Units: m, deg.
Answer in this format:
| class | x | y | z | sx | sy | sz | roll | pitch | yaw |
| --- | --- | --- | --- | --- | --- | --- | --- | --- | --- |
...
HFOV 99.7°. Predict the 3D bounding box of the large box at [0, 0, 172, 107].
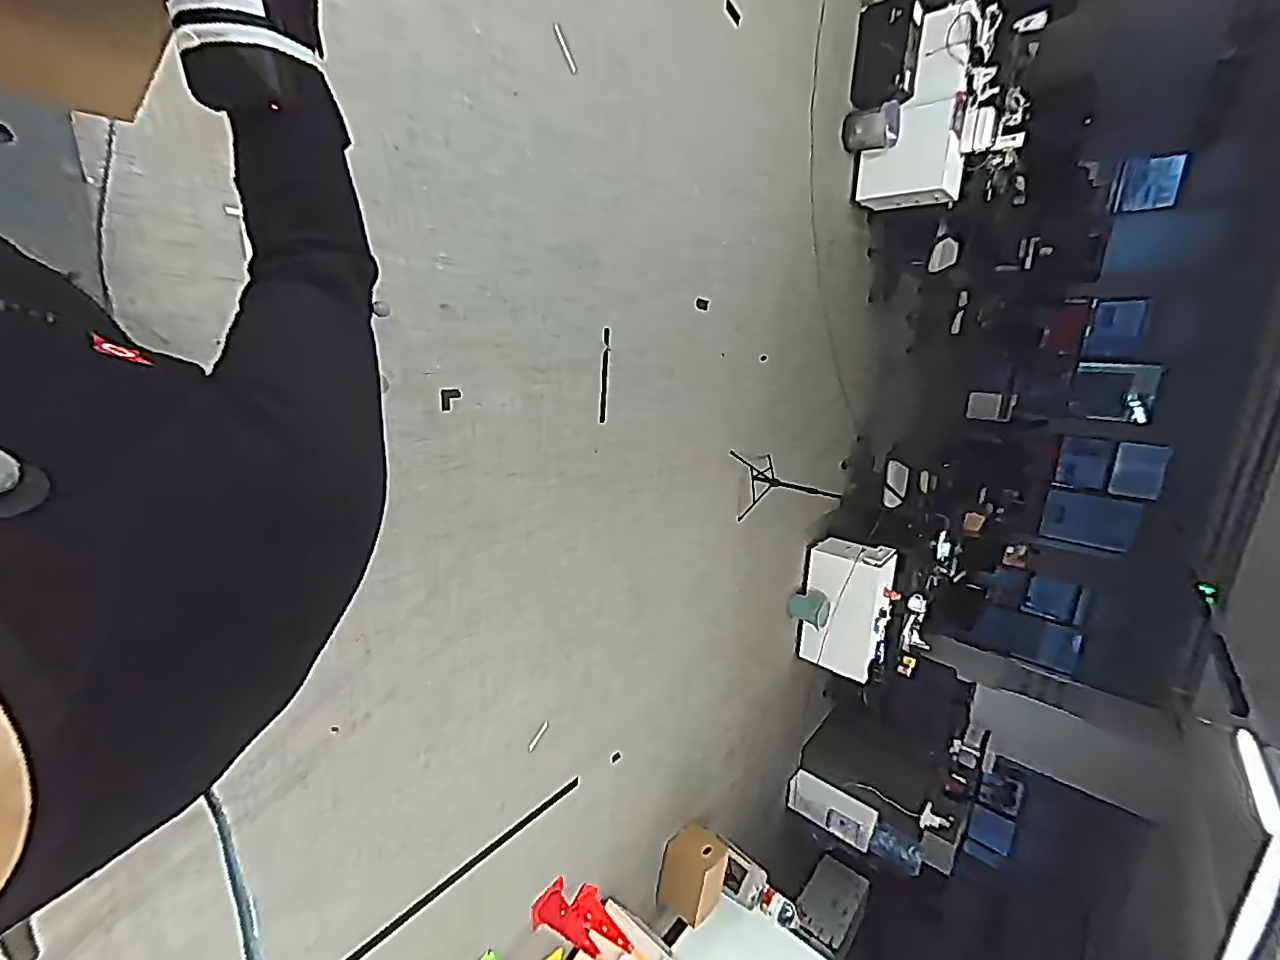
| class | x | y | z | sx | sy | sz | roll | pitch | yaw |
| --- | --- | --- | --- | --- | --- | --- | --- | --- | --- |
| large box | -0.509 | -0.450 | 0.243 | 0.408 | 0.320 | 0.320 | -14 | 107 | -48 |
